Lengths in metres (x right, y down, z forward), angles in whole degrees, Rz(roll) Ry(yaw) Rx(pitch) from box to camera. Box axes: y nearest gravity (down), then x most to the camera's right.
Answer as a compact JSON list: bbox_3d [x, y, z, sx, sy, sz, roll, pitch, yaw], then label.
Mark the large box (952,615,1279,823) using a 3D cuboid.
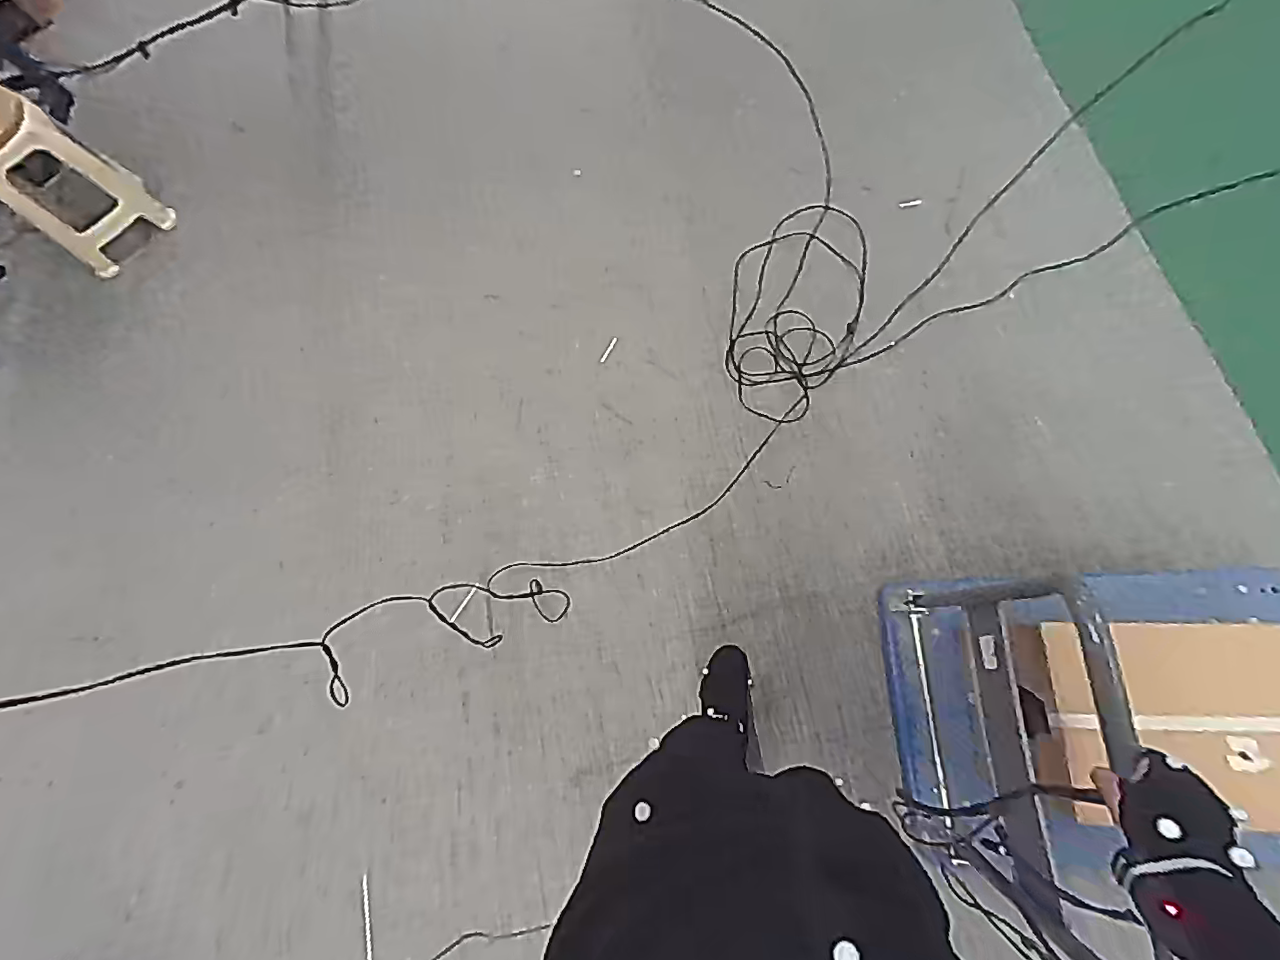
[{"bbox_3d":[0.887,0.424,1.024,0.408,0.320,0.320,-1,75,5],"label":"large box"}]
